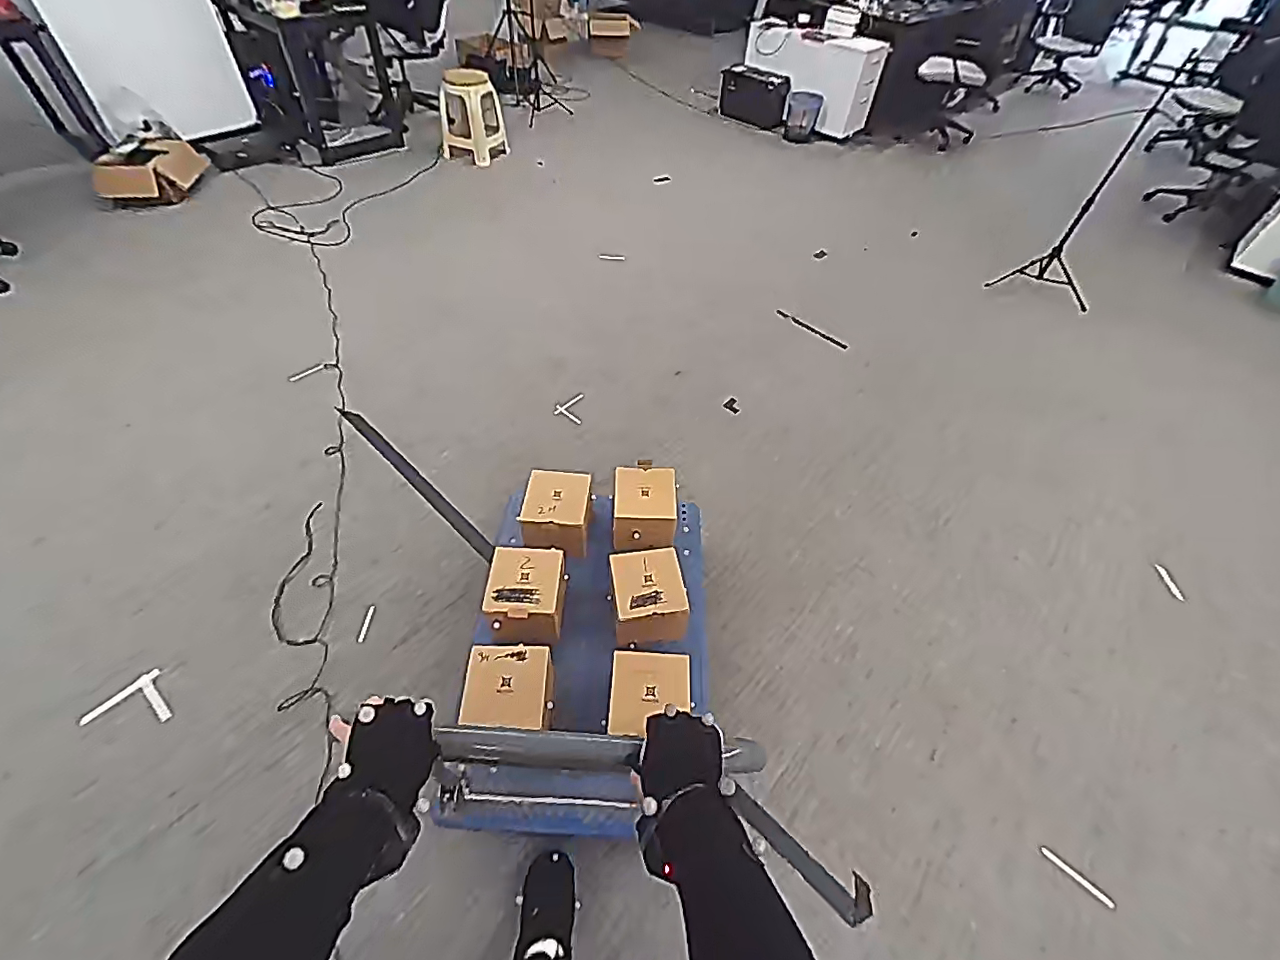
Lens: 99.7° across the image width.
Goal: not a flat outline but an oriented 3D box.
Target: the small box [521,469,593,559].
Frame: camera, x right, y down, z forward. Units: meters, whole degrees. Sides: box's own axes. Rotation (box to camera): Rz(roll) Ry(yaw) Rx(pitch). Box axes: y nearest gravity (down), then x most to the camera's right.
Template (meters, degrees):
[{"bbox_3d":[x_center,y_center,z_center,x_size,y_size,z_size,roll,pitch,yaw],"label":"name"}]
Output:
[{"bbox_3d":[-0.223,0.095,1.496,0.168,0.176,0.179,5,50,0],"label":"small box"}]

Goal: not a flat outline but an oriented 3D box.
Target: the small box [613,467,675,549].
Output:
[{"bbox_3d":[0.010,0.084,1.524,0.168,0.176,0.179,2,50,-3],"label":"small box"}]

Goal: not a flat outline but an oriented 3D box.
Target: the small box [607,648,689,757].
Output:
[{"bbox_3d":[0.017,0.490,1.182,0.168,0.176,0.179,5,49,-1],"label":"small box"}]

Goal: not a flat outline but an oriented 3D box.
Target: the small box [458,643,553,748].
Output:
[{"bbox_3d":[-0.280,0.471,1.172,0.168,0.176,0.179,2,50,-4],"label":"small box"}]

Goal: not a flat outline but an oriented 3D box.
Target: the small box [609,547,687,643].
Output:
[{"bbox_3d":[0.015,0.292,1.348,0.168,0.176,0.179,-5,50,-9],"label":"small box"}]
